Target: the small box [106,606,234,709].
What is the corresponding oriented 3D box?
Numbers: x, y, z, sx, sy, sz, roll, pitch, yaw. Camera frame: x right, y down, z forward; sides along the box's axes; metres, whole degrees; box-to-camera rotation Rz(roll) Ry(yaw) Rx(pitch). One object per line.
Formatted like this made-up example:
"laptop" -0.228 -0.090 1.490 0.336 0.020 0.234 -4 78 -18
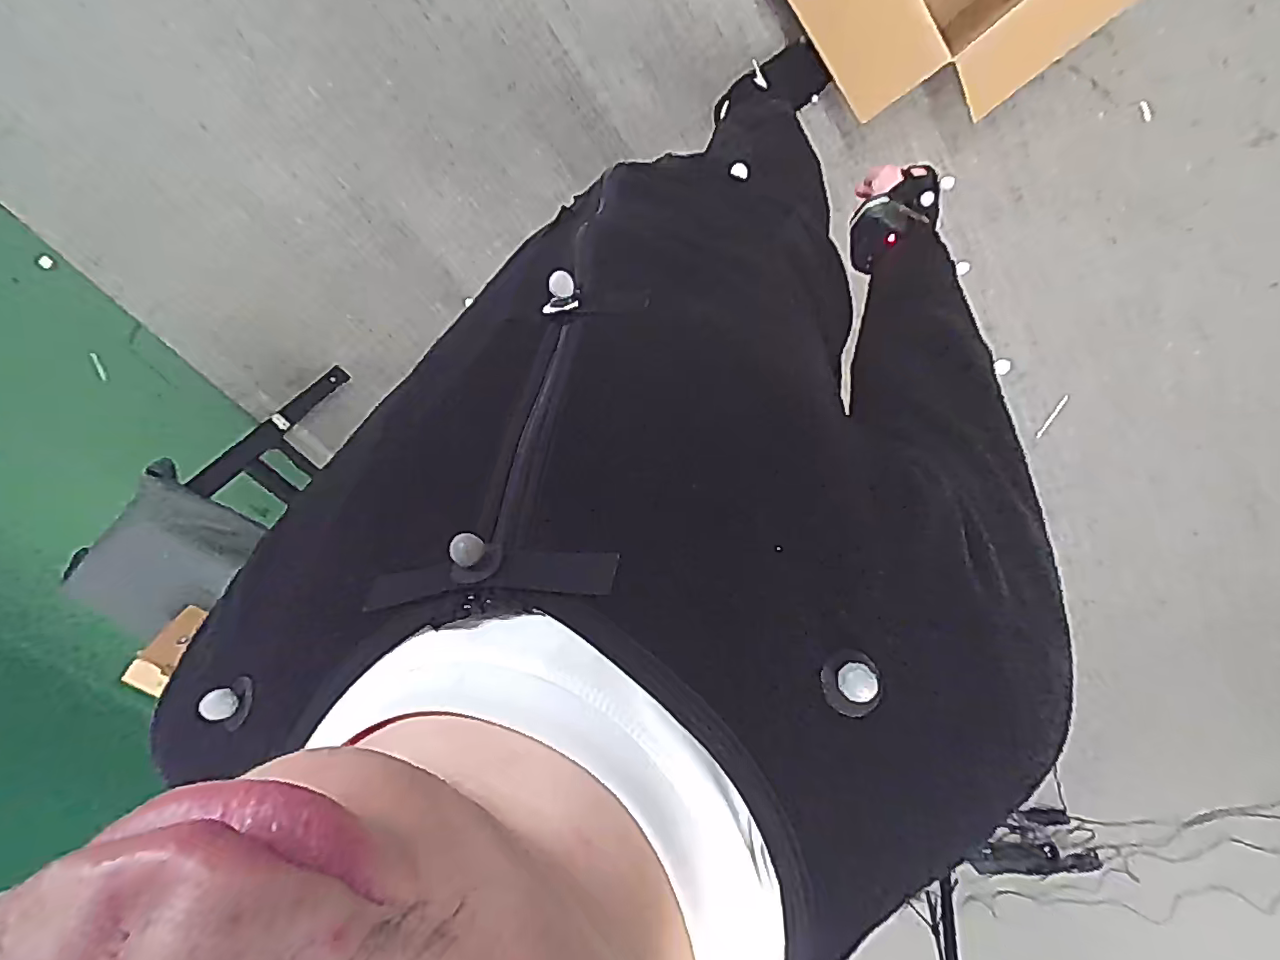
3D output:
"small box" -1.194 0.452 1.386 0.179 0.176 0.168 -34 113 32
